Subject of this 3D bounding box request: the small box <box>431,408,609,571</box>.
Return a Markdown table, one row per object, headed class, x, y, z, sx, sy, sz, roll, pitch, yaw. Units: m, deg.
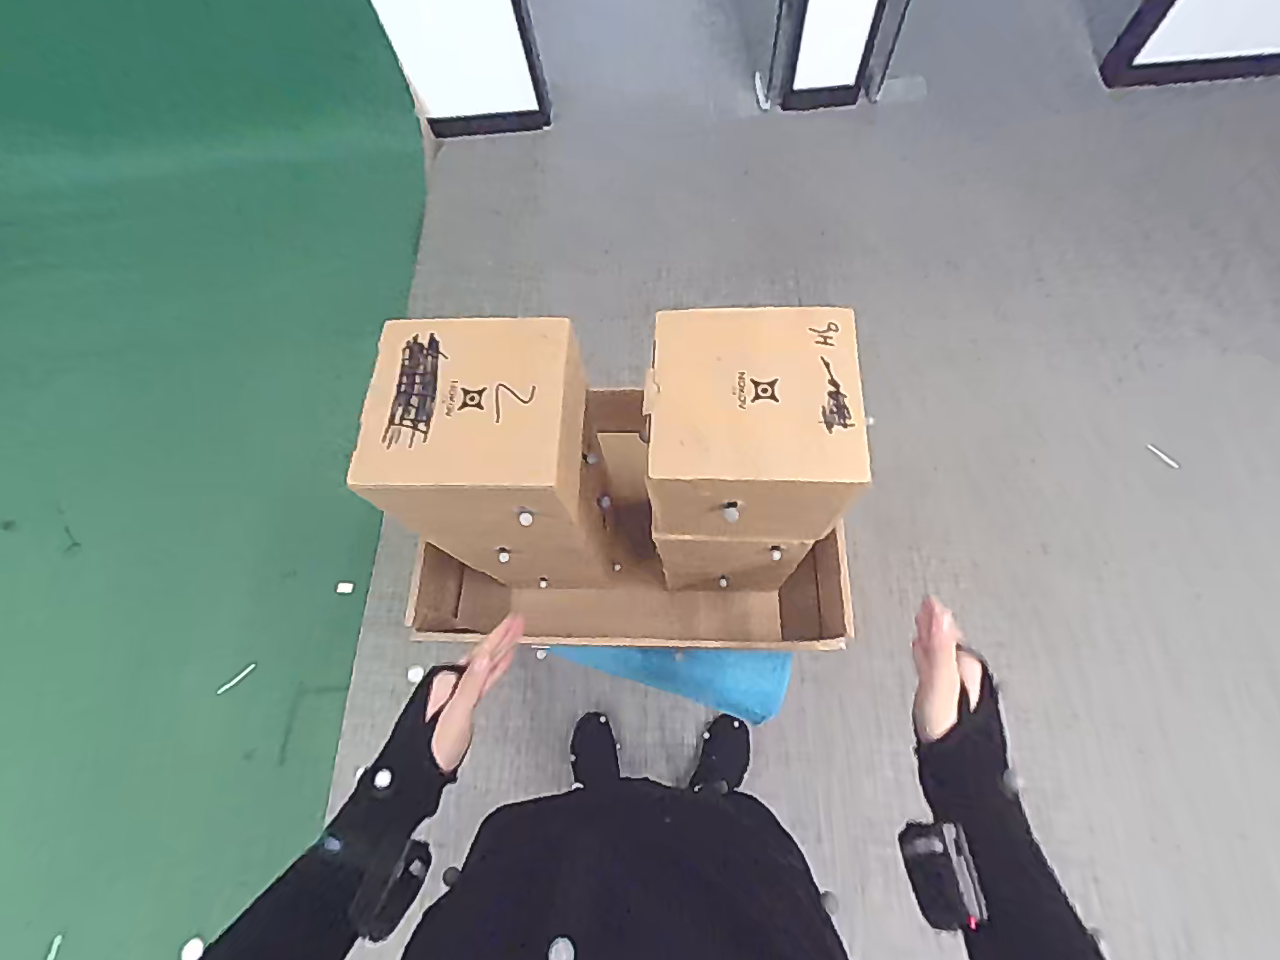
| class | x | y | z | sx | sy | sz | roll | pitch | yaw |
| --- | --- | --- | --- | --- | --- | --- | --- | --- | --- |
| small box | -0.139 | 0.020 | 0.695 | 0.179 | 0.176 | 0.168 | 0 | 69 | 3 |
